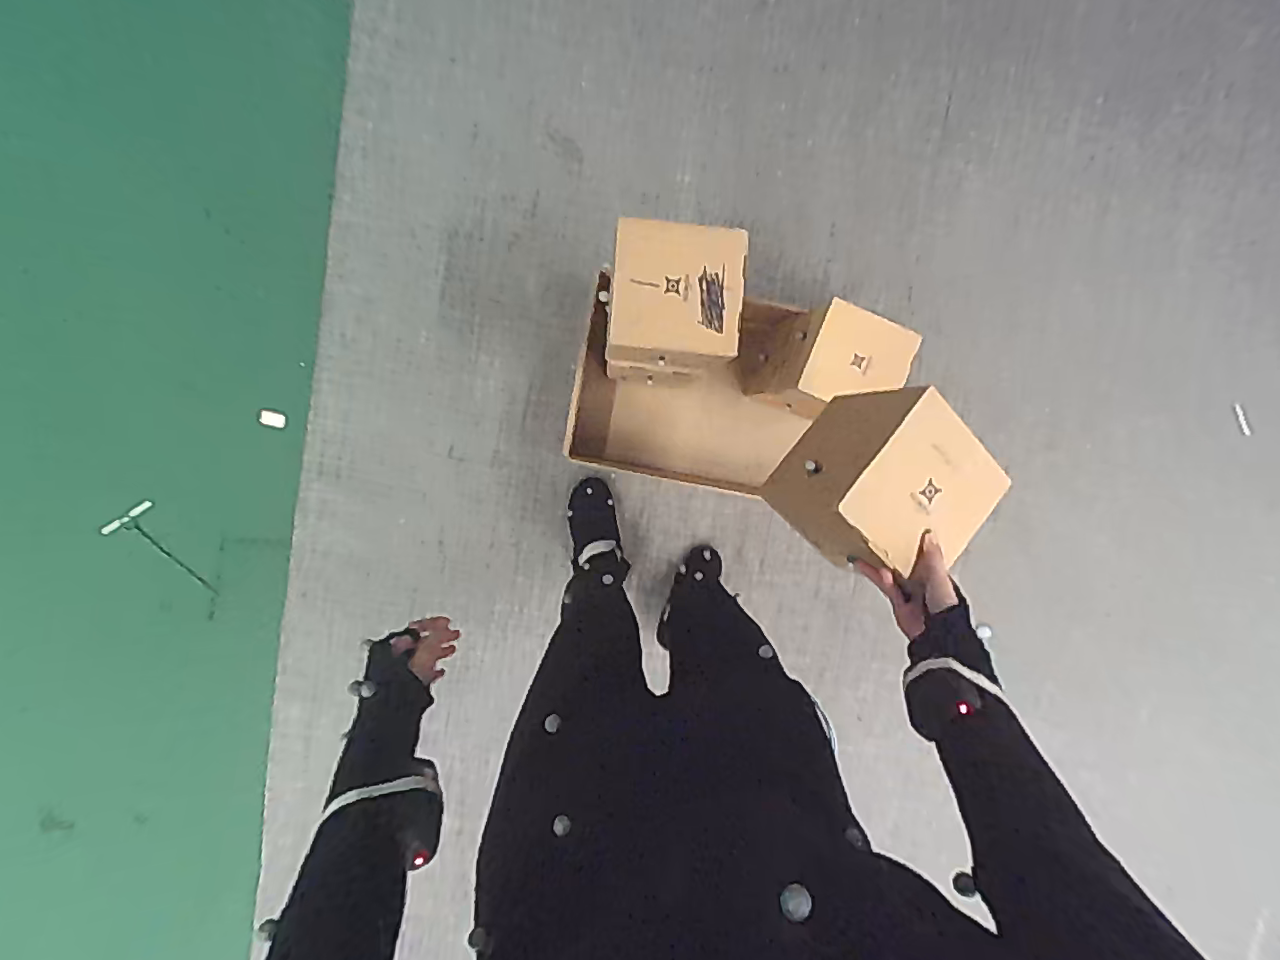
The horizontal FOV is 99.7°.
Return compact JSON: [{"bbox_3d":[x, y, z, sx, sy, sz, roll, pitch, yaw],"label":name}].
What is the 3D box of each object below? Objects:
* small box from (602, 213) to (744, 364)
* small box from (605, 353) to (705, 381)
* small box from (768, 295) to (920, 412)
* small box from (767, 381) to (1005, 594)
[{"bbox_3d":[0.038,-0.265,0.787,0.179,0.176,0.168,5,96,-4],"label":"small box"},{"bbox_3d":[0.030,-0.278,0.951,0.168,0.176,0.179,8,96,-5],"label":"small box"},{"bbox_3d":[0.359,-0.212,0.990,0.179,0.176,0.168,21,95,-7],"label":"small box"},{"bbox_3d":[0.282,0.004,0.661,0.168,0.176,0.179,42,83,-15],"label":"small box"}]
